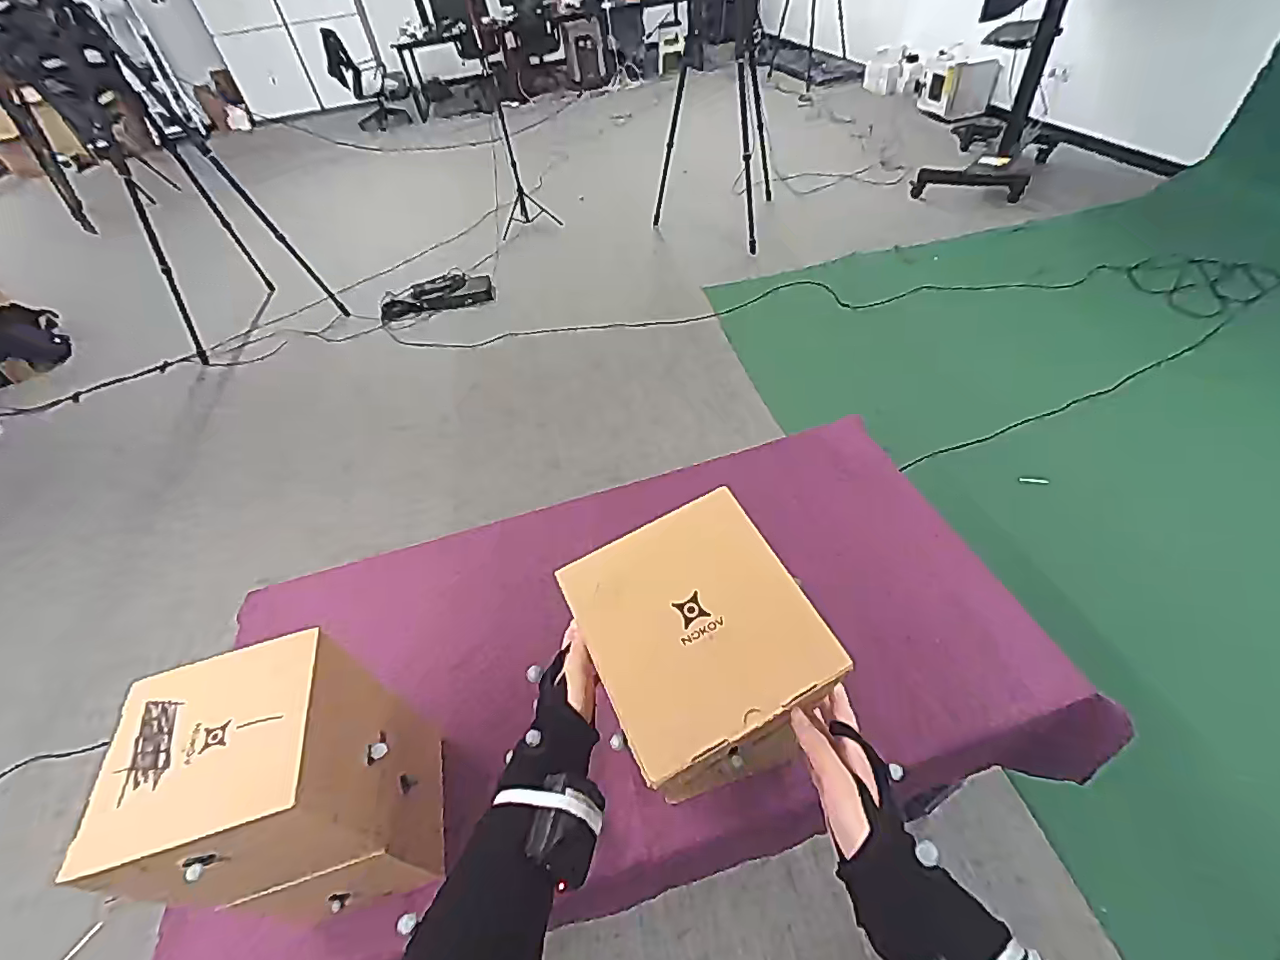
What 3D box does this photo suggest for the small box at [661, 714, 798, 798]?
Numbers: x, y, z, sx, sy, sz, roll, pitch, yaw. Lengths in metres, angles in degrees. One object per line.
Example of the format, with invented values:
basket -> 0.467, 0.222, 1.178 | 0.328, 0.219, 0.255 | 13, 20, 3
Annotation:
small box -> 0.086, 0.275, 0.687 | 0.179, 0.176, 0.168 | -17, 47, -6

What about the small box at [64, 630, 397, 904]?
small box -> -0.363, 0.280, 0.526 | 0.179, 0.176, 0.168 | -16, 47, -7

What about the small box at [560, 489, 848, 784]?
small box -> 0.048, 0.145, 0.485 | 0.168, 0.176, 0.179 | -26, 59, -9

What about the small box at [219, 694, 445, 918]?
small box -> -0.343, 0.392, 0.645 | 0.168, 0.176, 0.179 | -16, 46, -7
